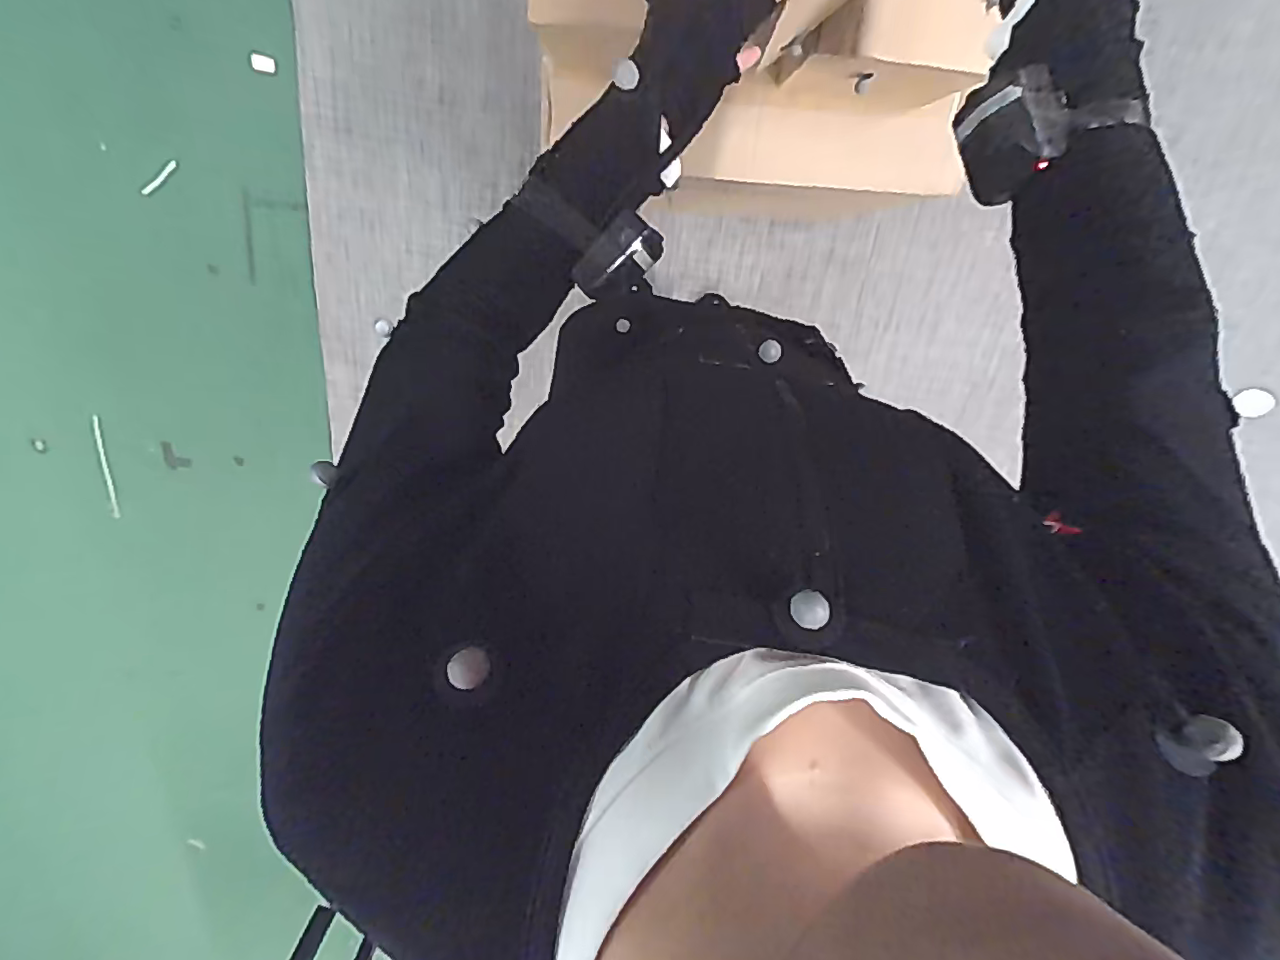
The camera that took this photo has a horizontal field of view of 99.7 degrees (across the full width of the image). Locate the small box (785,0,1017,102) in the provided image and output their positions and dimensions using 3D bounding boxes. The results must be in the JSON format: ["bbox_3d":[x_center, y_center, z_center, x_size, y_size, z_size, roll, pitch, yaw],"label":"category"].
[{"bbox_3d":[0.257,-0.496,0.538,0.179,0.176,0.168,7,116,0],"label":"small box"}]

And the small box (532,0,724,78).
[{"bbox_3d":[-0.004,-0.521,0.535,0.179,0.176,0.168,5,114,1],"label":"small box"}]

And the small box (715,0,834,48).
[{"bbox_3d":[0.118,-0.453,0.379,0.168,0.176,0.179,-33,107,15],"label":"small box"}]
